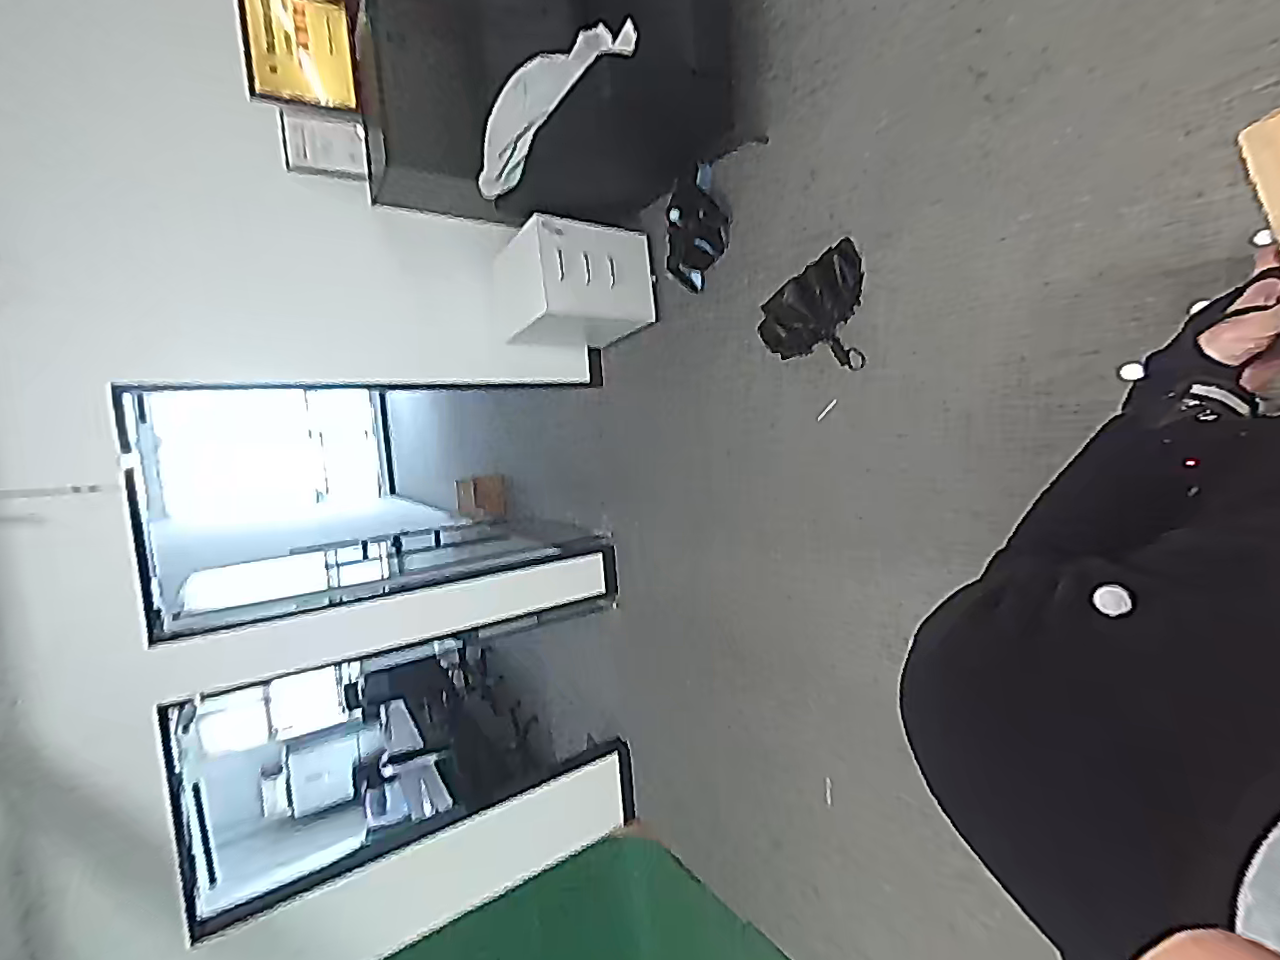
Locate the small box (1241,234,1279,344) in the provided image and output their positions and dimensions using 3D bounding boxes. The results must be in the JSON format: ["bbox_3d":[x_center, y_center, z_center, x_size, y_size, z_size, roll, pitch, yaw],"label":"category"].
[{"bbox_3d":[1.159,-0.335,0.917,0.168,0.176,0.179,-3,95,57],"label":"small box"}]
